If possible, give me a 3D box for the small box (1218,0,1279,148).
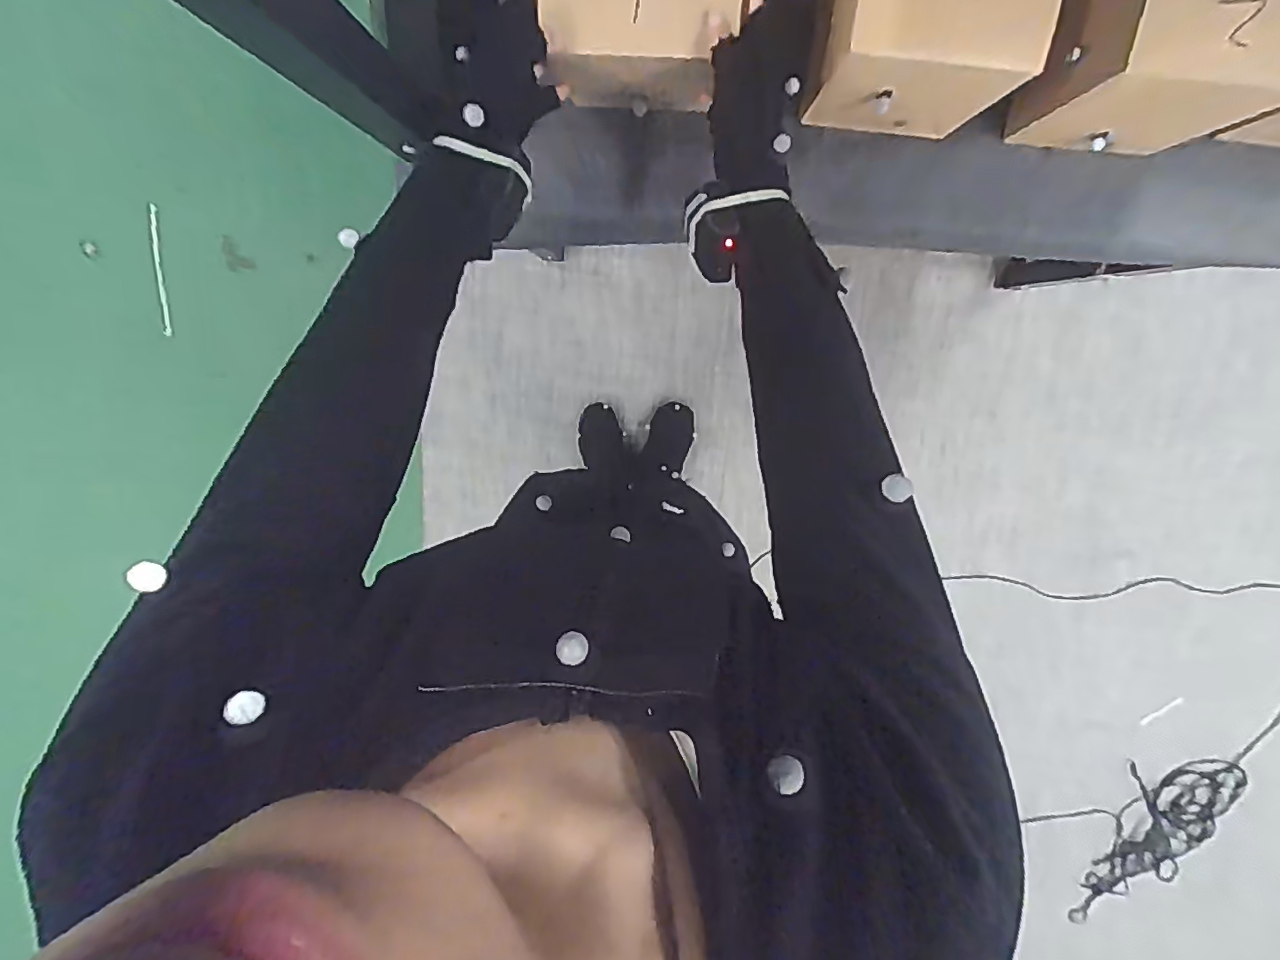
[{"bbox_3d":[0.716,-0.422,0.501,0.168,0.176,0.179,7,104,0],"label":"small box"}]

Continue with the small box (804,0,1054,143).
[{"bbox_3d":[0.265,-0.447,0.512,0.168,0.176,0.179,7,104,1],"label":"small box"}]

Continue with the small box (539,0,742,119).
[{"bbox_3d":[0.008,-0.455,0.491,0.168,0.176,0.179,5,113,3],"label":"small box"}]
